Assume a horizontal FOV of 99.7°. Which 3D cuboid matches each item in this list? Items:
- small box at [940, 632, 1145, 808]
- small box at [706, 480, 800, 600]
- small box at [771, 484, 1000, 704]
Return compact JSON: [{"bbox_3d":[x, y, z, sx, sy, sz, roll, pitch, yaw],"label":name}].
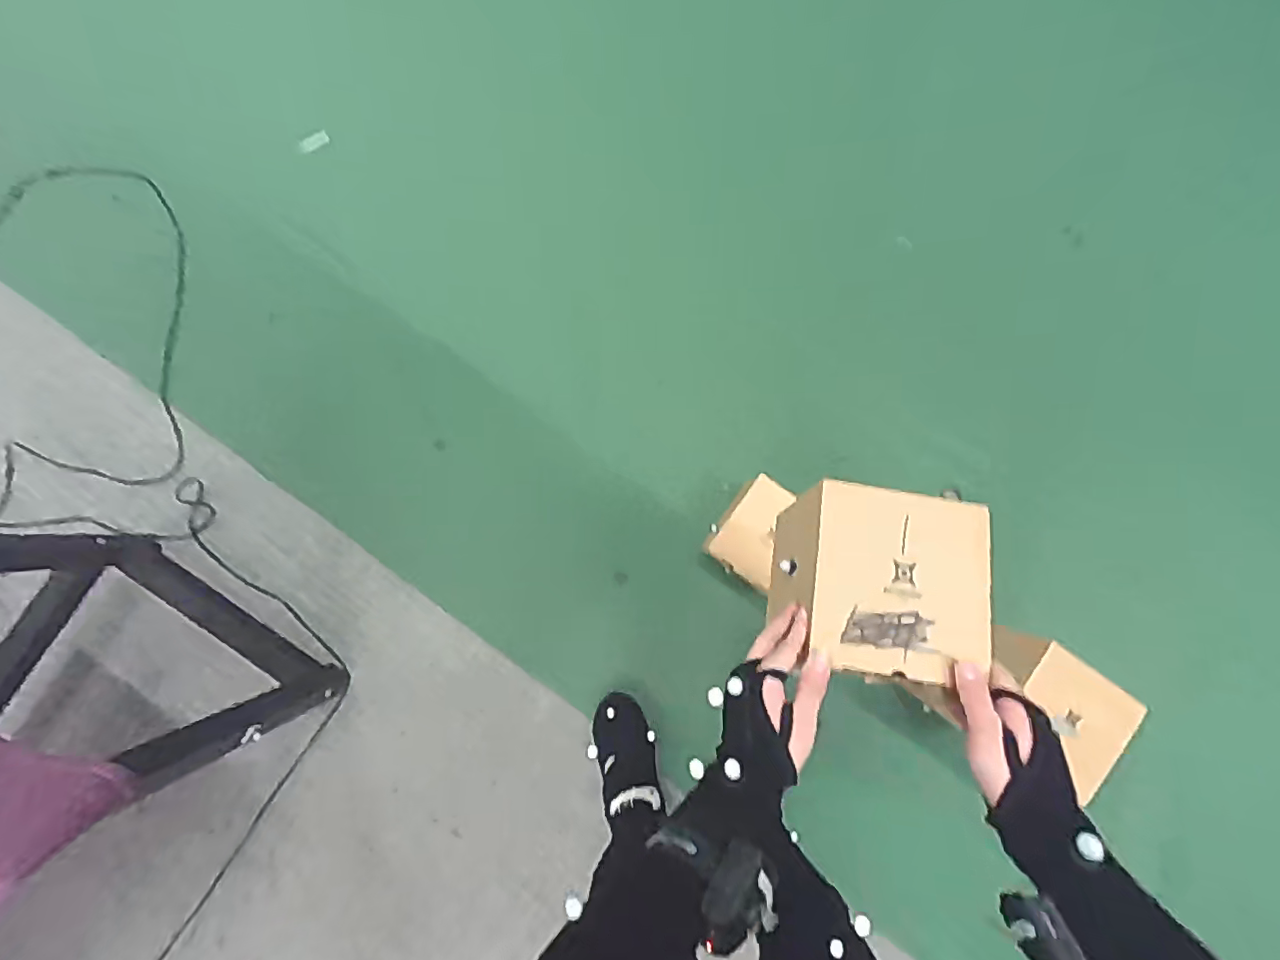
[{"bbox_3d":[0.632,0.369,0.875,0.168,0.176,0.179,37,87,5],"label":"small box"},{"bbox_3d":[0.246,0.121,1.079,0.168,0.176,0.179,35,87,5],"label":"small box"},{"bbox_3d":[0.242,0.119,0.568,0.168,0.176,0.179,9,74,1],"label":"small box"}]
